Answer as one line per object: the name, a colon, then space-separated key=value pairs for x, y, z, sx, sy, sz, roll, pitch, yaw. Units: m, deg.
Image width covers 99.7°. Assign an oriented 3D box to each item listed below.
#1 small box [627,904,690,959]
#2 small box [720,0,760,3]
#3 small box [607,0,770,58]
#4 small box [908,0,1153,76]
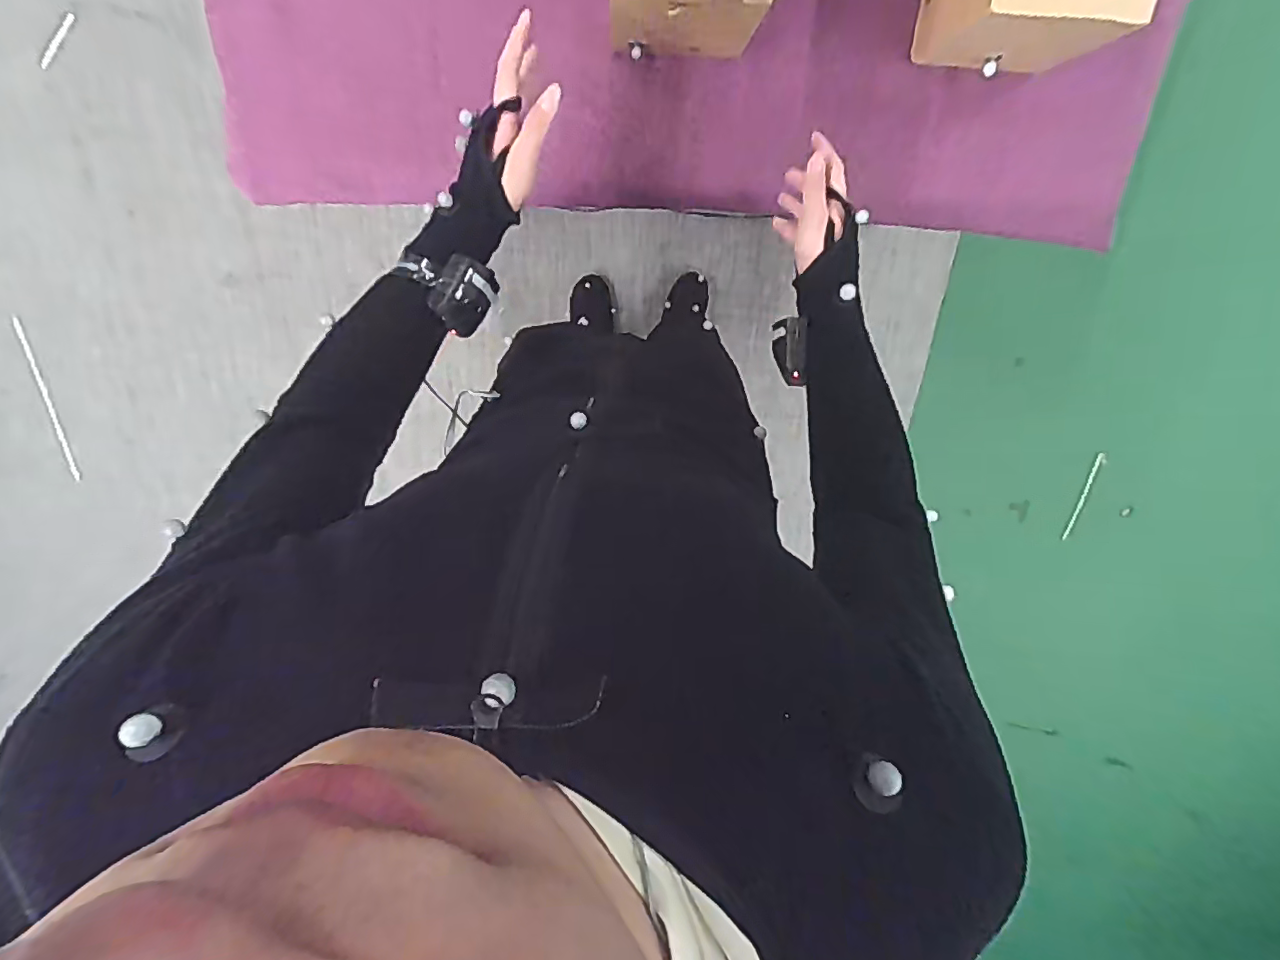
small box: x=0.051 y=1.358 z=1.546 sx=0.168 sy=0.176 sz=0.179 roll=3 pitch=113 yaw=-5
small box: x=0.057 y=-0.515 z=0.427 sx=0.179 sy=0.176 sz=0.168 roll=0 pitch=114 yaw=-4
small box: x=0.049 y=-0.581 z=0.576 sx=0.168 sy=0.176 sz=0.179 roll=0 pitch=112 yaw=-3
small box: x=0.439 y=-0.574 z=0.601 sx=0.179 sy=0.176 sz=0.168 roll=1 pitch=112 yaw=-4
